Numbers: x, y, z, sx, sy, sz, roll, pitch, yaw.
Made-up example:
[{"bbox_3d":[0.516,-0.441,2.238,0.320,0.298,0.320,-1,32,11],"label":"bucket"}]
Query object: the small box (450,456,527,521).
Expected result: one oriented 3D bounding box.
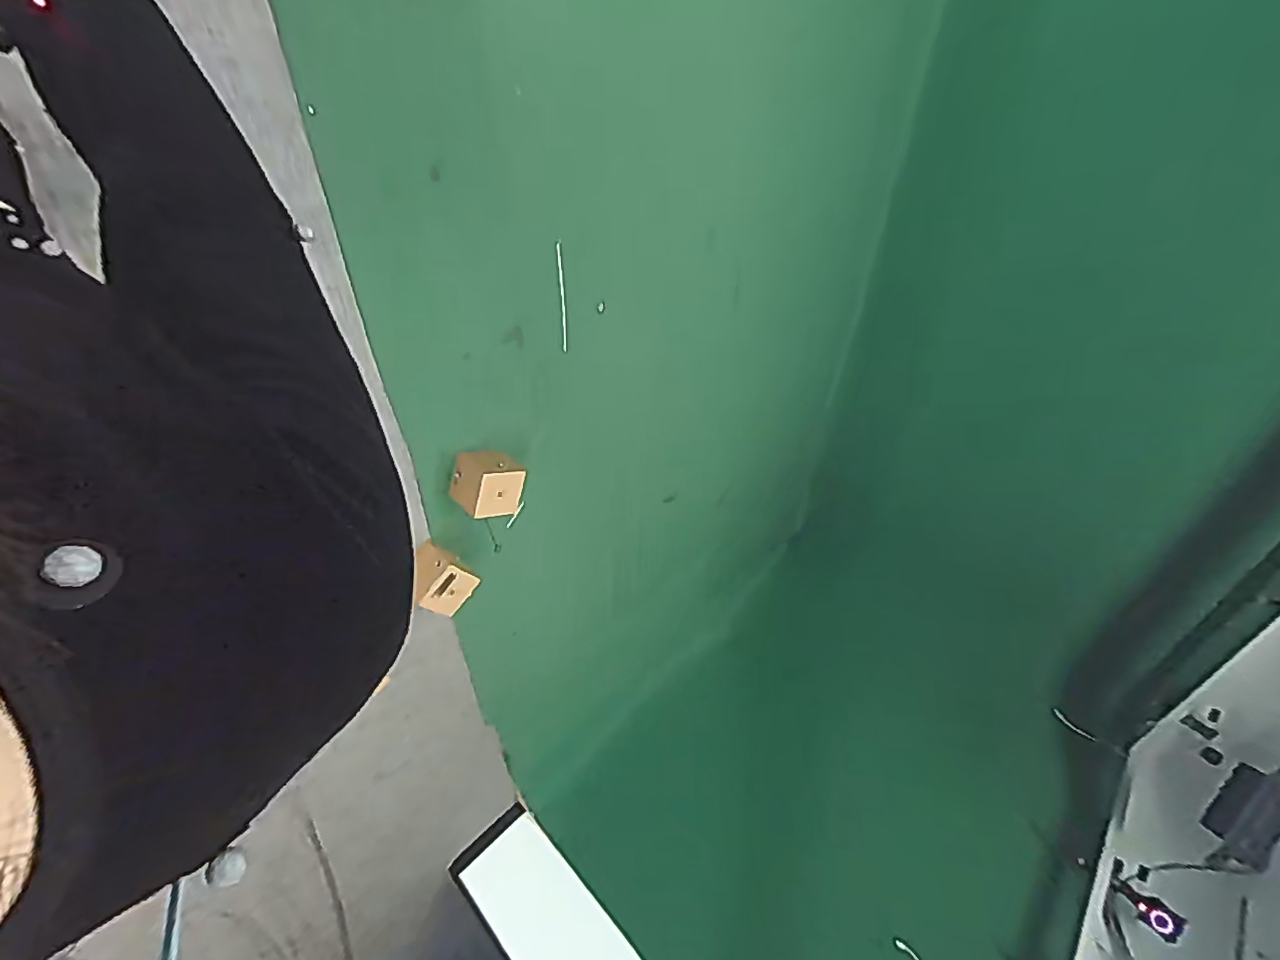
[{"bbox_3d":[-0.523,0.023,1.861,0.179,0.176,0.168,-6,119,-50],"label":"small box"}]
